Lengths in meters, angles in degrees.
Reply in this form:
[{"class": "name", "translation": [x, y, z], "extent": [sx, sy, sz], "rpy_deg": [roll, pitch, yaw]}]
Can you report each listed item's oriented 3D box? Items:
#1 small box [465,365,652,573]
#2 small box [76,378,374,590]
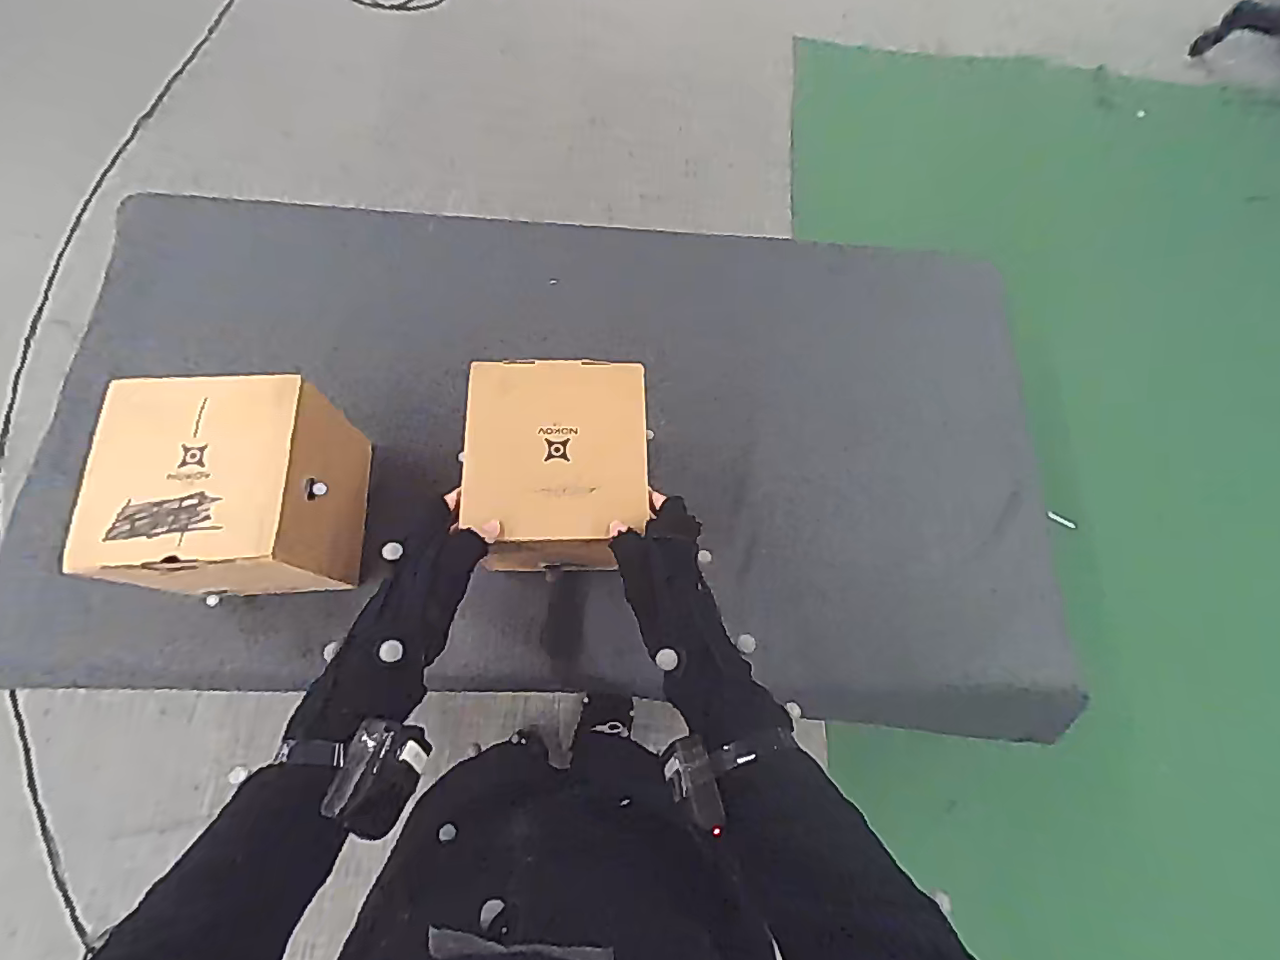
[{"class": "small box", "translation": [-0.079, -0.003, 0.572], "extent": [0.168, 0.176, 0.179], "rpy_deg": [-1, 72, -4]}, {"class": "small box", "translation": [-0.390, 0.015, 0.550], "extent": [0.168, 0.176, 0.179], "rpy_deg": [-2, 70, -5]}]
